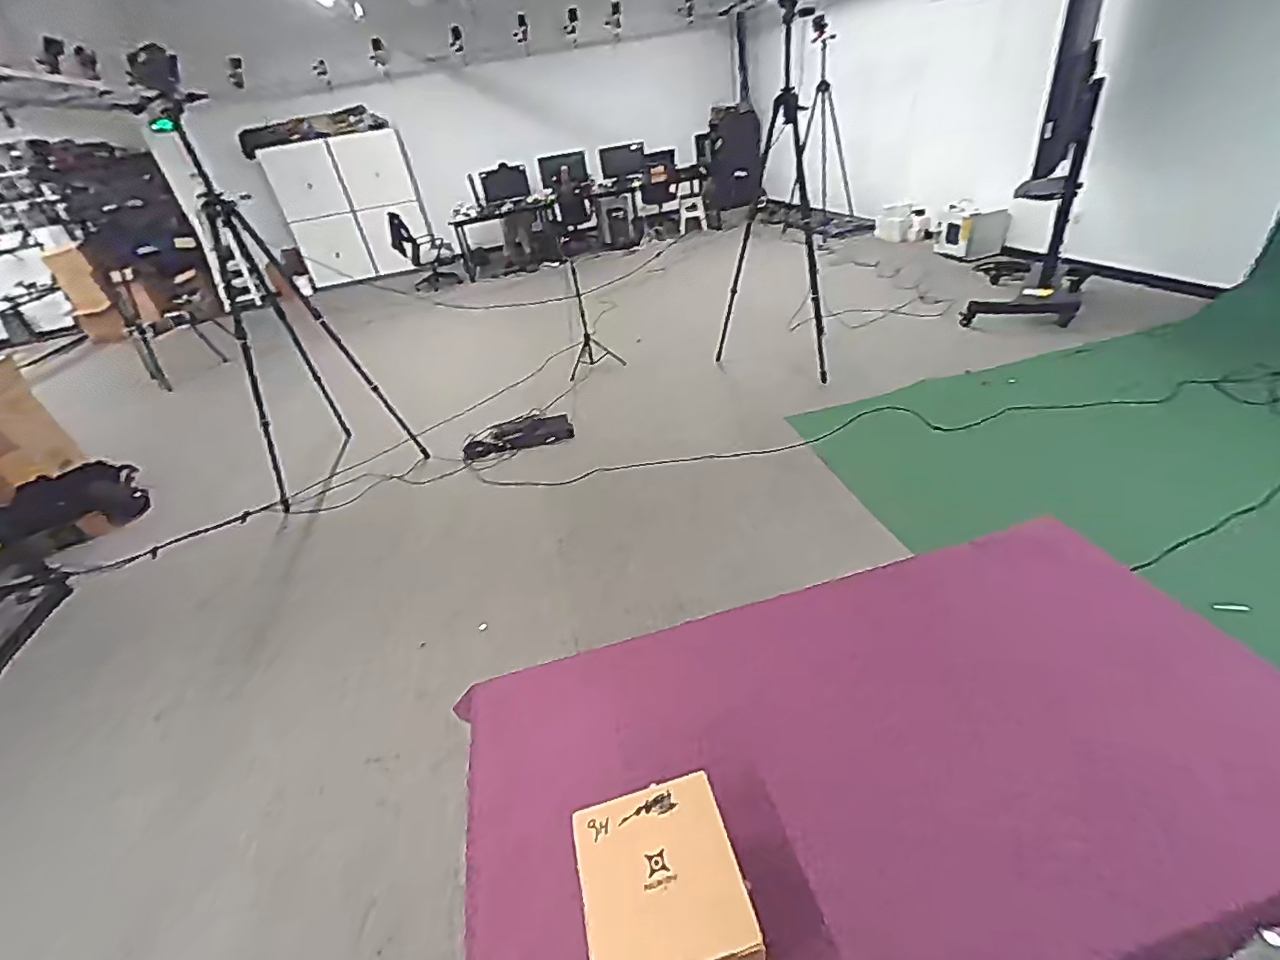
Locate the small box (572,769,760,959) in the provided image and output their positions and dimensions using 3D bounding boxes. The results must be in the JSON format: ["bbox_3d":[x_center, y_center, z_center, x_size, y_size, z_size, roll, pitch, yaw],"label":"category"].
[{"bbox_3d":[0.030,0.477,0.617,0.168,0.176,0.179,-15,34,-6],"label":"small box"}]
